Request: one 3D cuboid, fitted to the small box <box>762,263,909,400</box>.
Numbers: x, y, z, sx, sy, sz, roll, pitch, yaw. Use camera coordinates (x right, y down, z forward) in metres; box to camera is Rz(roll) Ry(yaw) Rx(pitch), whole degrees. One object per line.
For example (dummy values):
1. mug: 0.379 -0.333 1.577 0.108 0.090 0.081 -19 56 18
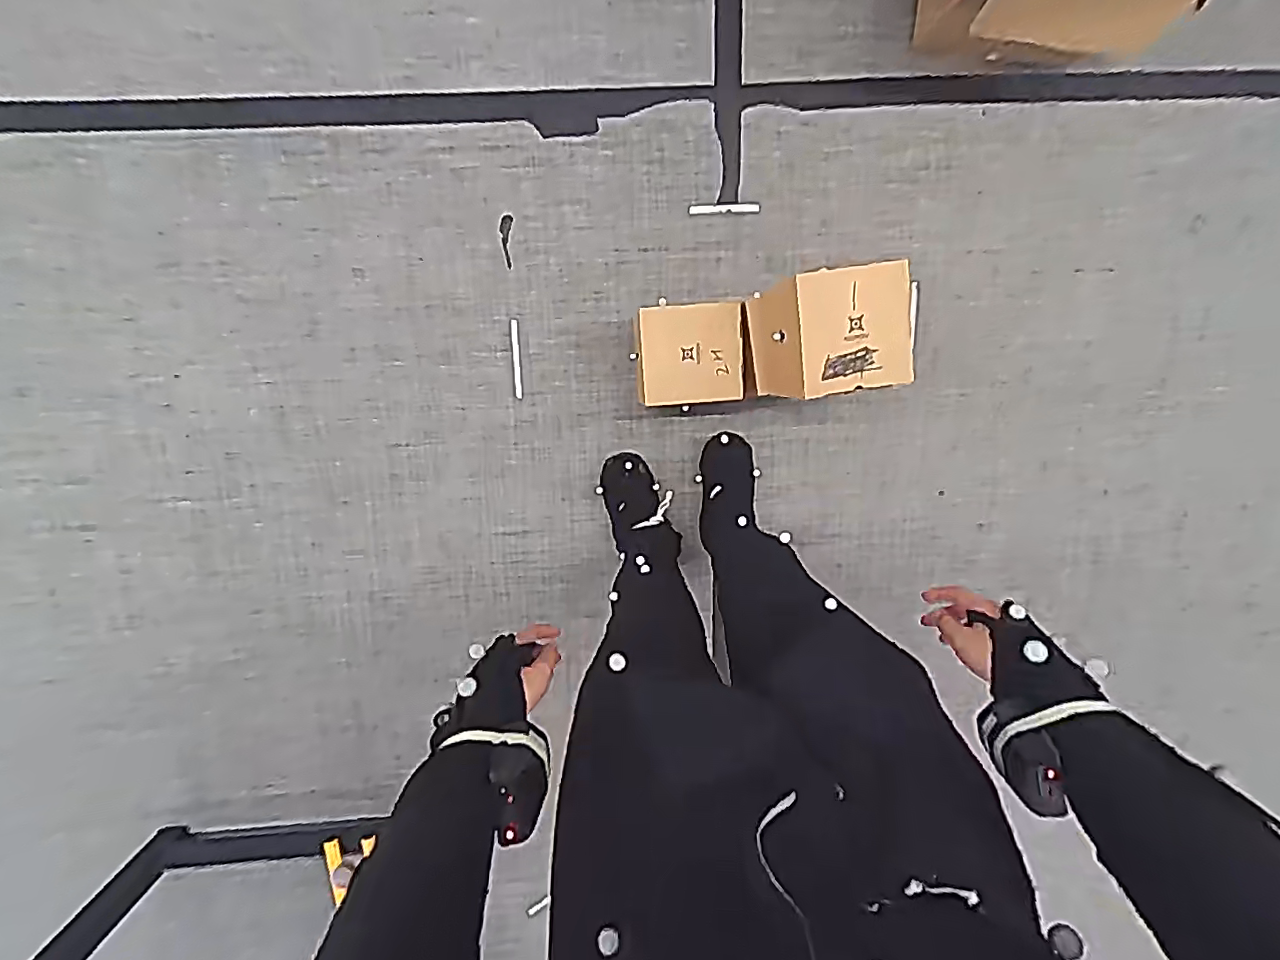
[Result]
1. small box: 0.298 -0.226 0.848 0.168 0.176 0.179 -8 101 -3
